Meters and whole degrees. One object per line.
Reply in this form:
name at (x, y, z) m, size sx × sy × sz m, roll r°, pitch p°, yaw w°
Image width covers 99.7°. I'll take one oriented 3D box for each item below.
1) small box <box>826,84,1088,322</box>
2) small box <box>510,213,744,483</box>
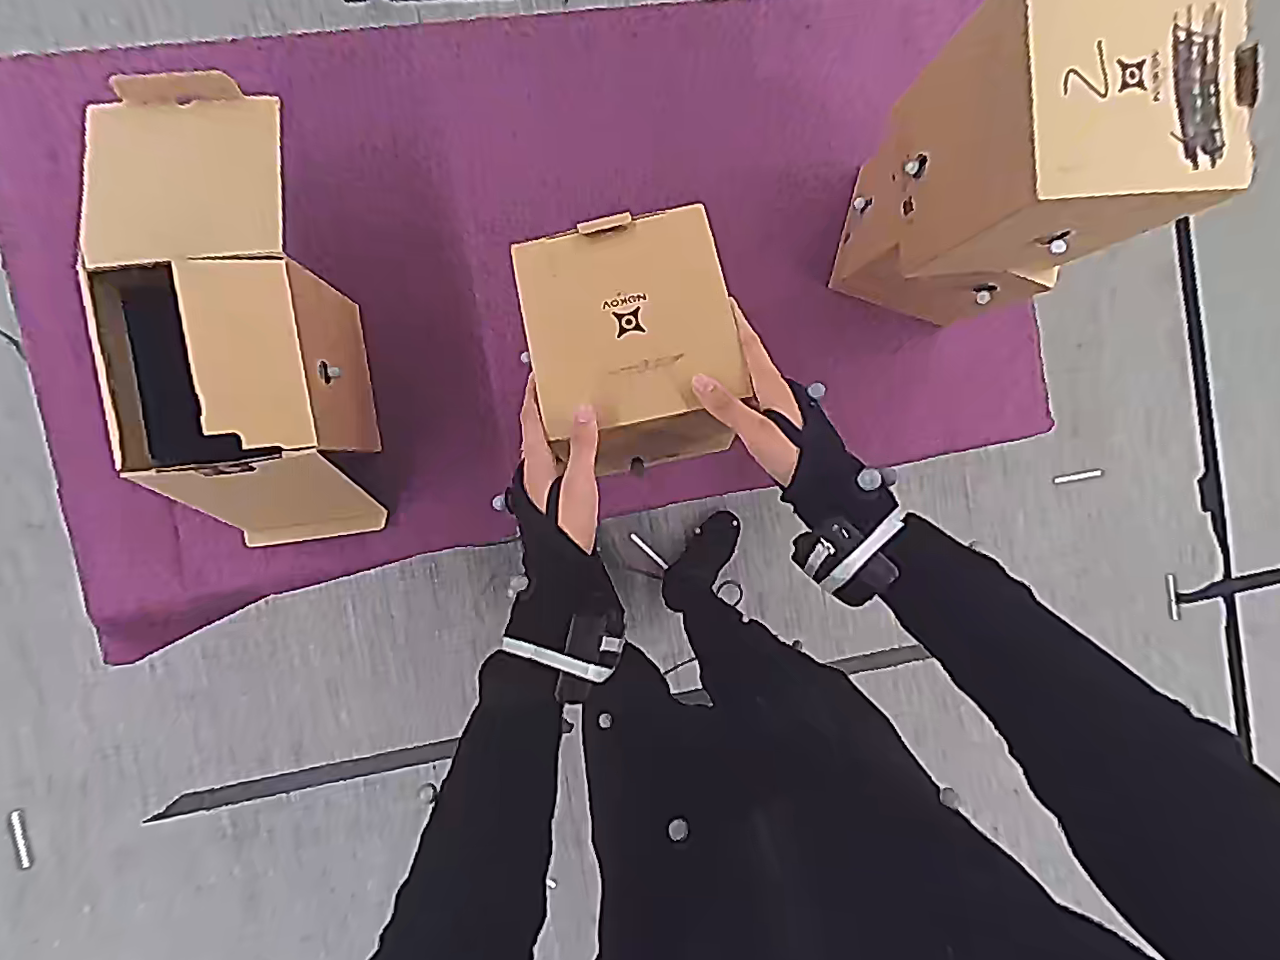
small box at (0.351, -0.298, 0.629) m, size 0.179 × 0.176 × 0.168 m, roll 15°, pitch 90°, yaw -7°
small box at (-0.011, -0.109, 0.513) m, size 0.168 × 0.176 × 0.179 m, roll -12°, pitch 79°, yaw 1°
